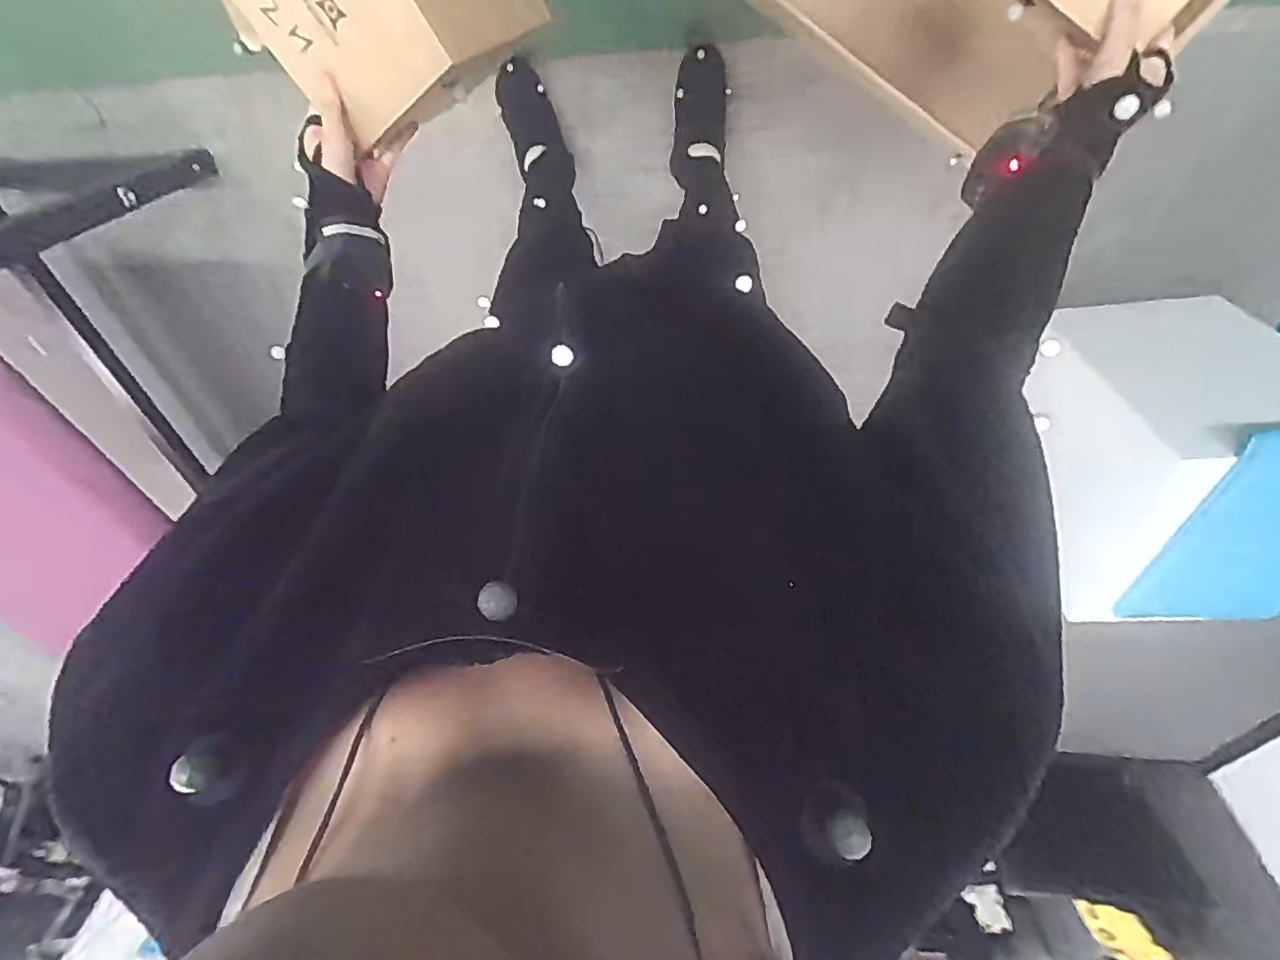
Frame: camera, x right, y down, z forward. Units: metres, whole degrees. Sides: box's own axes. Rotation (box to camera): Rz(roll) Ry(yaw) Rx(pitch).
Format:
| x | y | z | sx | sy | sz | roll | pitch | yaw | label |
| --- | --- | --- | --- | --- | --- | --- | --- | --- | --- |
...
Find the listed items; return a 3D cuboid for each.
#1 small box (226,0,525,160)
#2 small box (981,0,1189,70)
| x | y | z | sx | sy | sz | roll | pitch | yaw | label |
| --- | --- | --- | --- | --- | --- | --- | --- | --- | --- |
| -0.229 | -0.439 | 0.491 | 0.179 | 0.176 | 0.168 | -8 | 130 | 38 | small box |
| 0.382 | -0.487 | 0.447 | 0.179 | 0.176 | 0.168 | 26 | 132 | -11 | small box |
